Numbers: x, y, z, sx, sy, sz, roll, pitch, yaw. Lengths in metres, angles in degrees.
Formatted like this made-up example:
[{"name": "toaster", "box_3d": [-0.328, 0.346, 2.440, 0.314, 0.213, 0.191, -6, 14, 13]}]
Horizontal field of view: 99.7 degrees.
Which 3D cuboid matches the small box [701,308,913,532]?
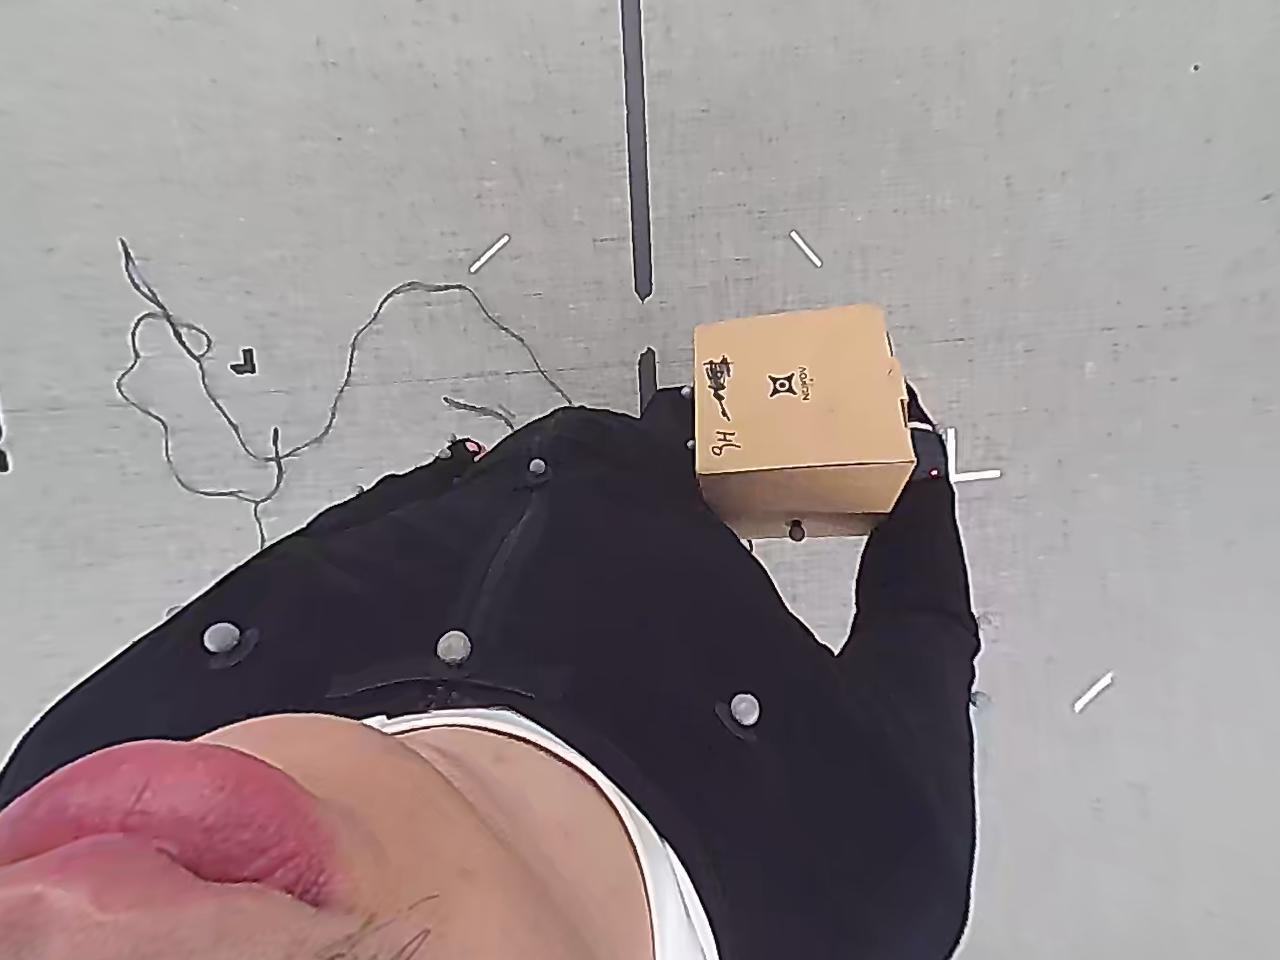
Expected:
[{"name": "small box", "box_3d": [0.157, -0.051, 0.561, 0.179, 0.176, 0.168, -3, 63, 11]}]
